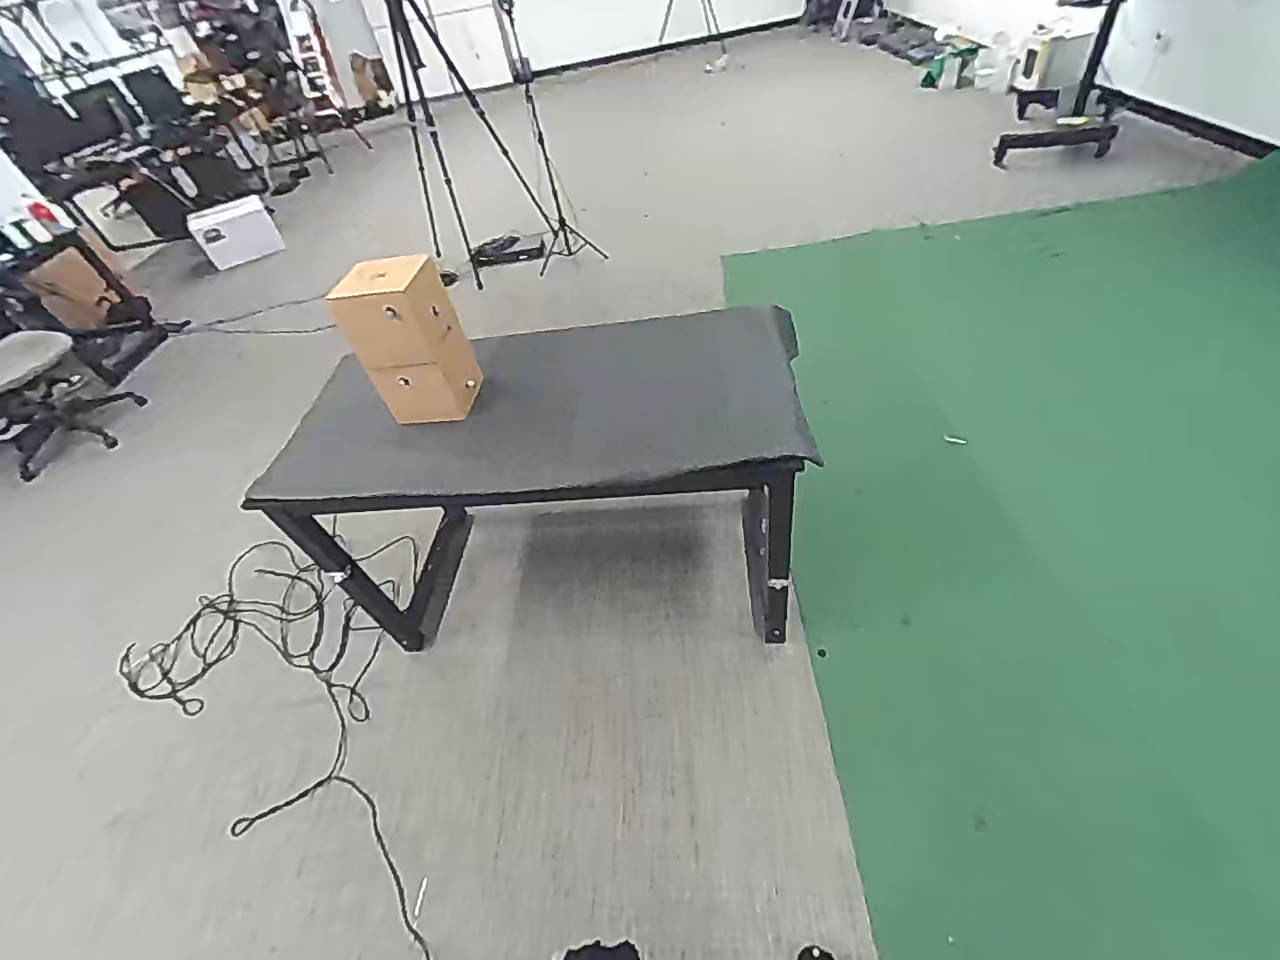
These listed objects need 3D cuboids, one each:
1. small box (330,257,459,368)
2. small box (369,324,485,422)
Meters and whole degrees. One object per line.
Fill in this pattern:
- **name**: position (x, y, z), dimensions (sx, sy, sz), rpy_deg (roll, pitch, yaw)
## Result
- **small box**: position (-0.522, -0.363, 1.181), dimensions (0.179, 0.176, 0.168), rpy_deg (-3, 45, 8)
- **small box**: position (-0.503, -0.253, 1.303), dimensions (0.179, 0.176, 0.168), rpy_deg (-2, 46, 9)
